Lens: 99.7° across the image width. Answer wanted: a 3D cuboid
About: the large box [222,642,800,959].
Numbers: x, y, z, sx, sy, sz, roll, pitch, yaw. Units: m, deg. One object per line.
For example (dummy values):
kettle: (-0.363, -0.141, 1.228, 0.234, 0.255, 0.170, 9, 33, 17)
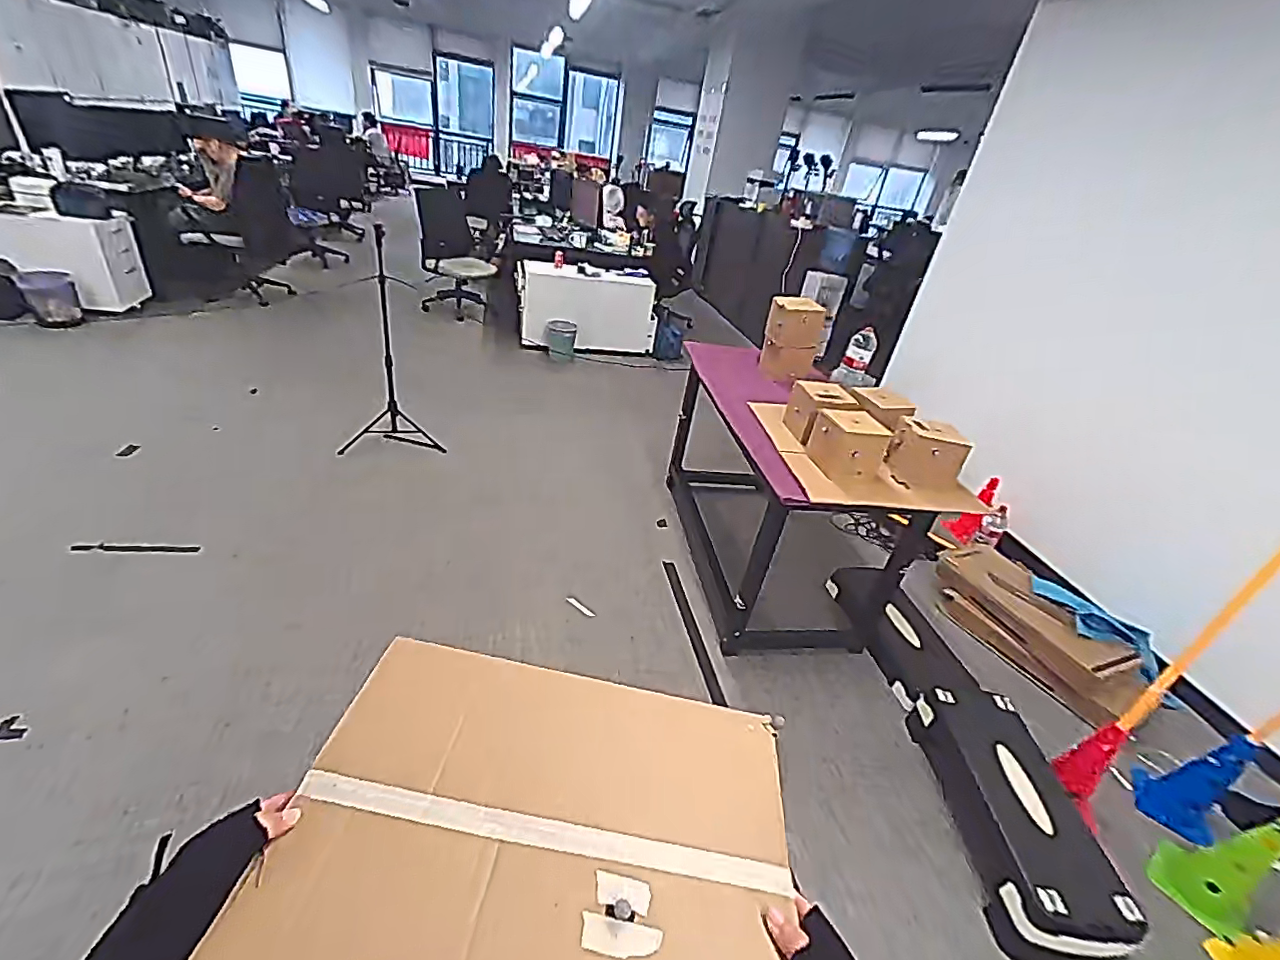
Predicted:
large box: (-0.097, 0.415, 0.530, 0.408, 0.320, 0.320, 13, 32, -1)
